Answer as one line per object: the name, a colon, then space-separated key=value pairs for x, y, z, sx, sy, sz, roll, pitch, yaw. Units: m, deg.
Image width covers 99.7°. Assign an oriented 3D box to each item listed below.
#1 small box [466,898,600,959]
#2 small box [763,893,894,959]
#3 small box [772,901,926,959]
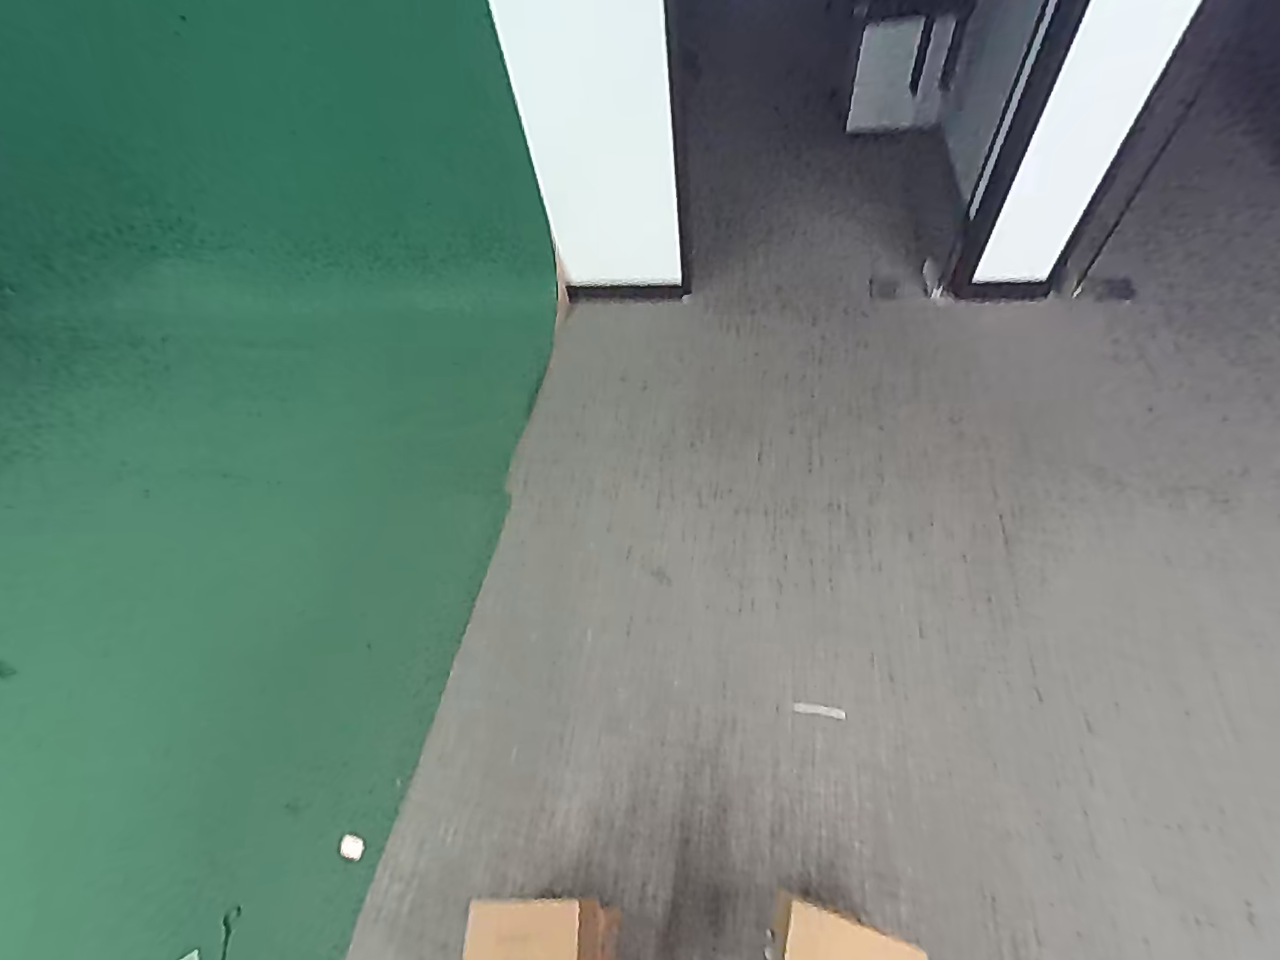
small box: x=-0.156 y=0.740 z=0.807 sx=0.168 sy=0.176 sz=0.179 roll=-4 pitch=53 yaw=5
small box: x=0.302 y=0.805 z=0.891 sx=0.179 sy=0.176 sz=0.168 roll=10 pitch=56 yaw=15
small box: x=0.279 y=0.716 z=0.754 sx=0.179 sy=0.176 sz=0.168 roll=10 pitch=57 yaw=17
